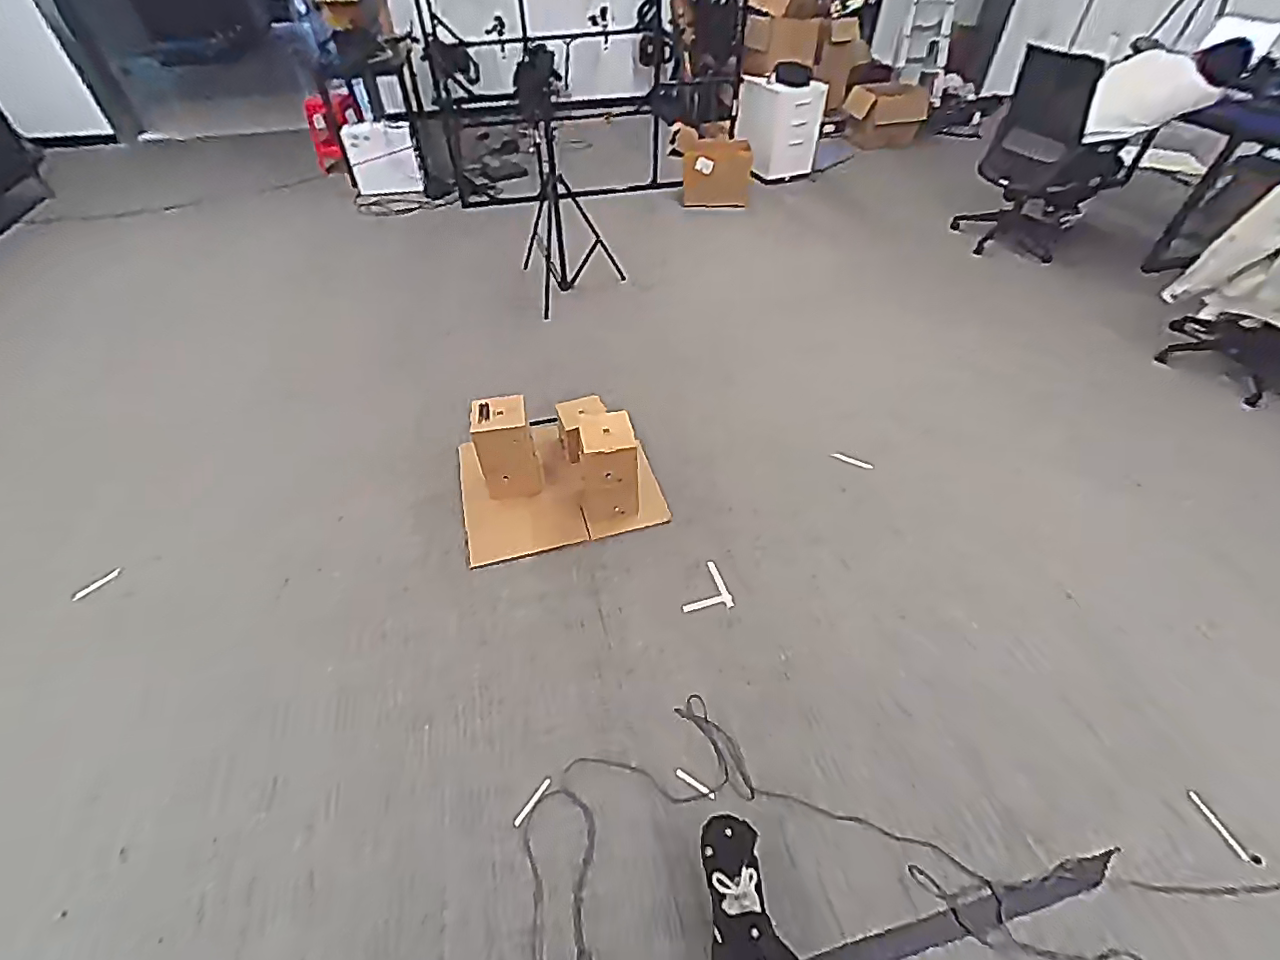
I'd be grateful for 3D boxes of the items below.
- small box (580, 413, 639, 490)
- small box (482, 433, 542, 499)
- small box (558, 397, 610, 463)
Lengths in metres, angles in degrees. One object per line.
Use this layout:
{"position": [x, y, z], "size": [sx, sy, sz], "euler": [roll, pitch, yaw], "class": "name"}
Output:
{"position": [-0.100, -0.092, 1.766], "size": [0.168, 0.176, 0.179], "euler": [-9, 49, -8], "class": "small box"}
{"position": [-0.455, -0.048, 1.949], "size": [0.179, 0.176, 0.168], "euler": [-6, 48, -3], "class": "small box"}
{"position": [-0.207, -0.192, 2.086], "size": [0.179, 0.176, 0.168], "euler": [-16, 48, -13], "class": "small box"}
